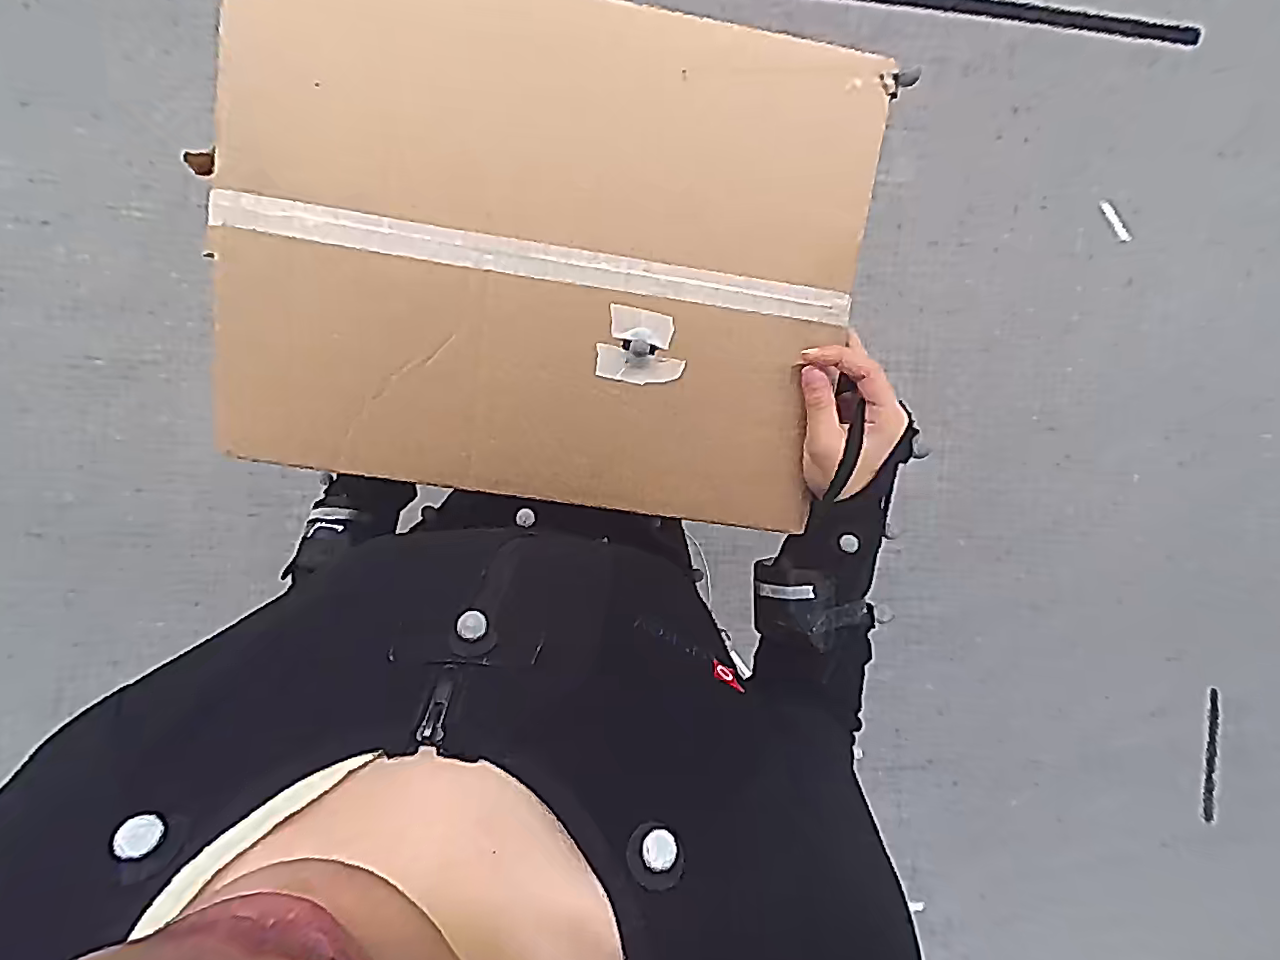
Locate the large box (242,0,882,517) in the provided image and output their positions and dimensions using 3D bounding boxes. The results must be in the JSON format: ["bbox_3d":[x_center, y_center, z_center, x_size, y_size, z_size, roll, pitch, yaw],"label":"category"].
[{"bbox_3d":[-0.066,-0.166,0.506,0.408,0.320,0.320,7,100,-6],"label":"large box"}]
